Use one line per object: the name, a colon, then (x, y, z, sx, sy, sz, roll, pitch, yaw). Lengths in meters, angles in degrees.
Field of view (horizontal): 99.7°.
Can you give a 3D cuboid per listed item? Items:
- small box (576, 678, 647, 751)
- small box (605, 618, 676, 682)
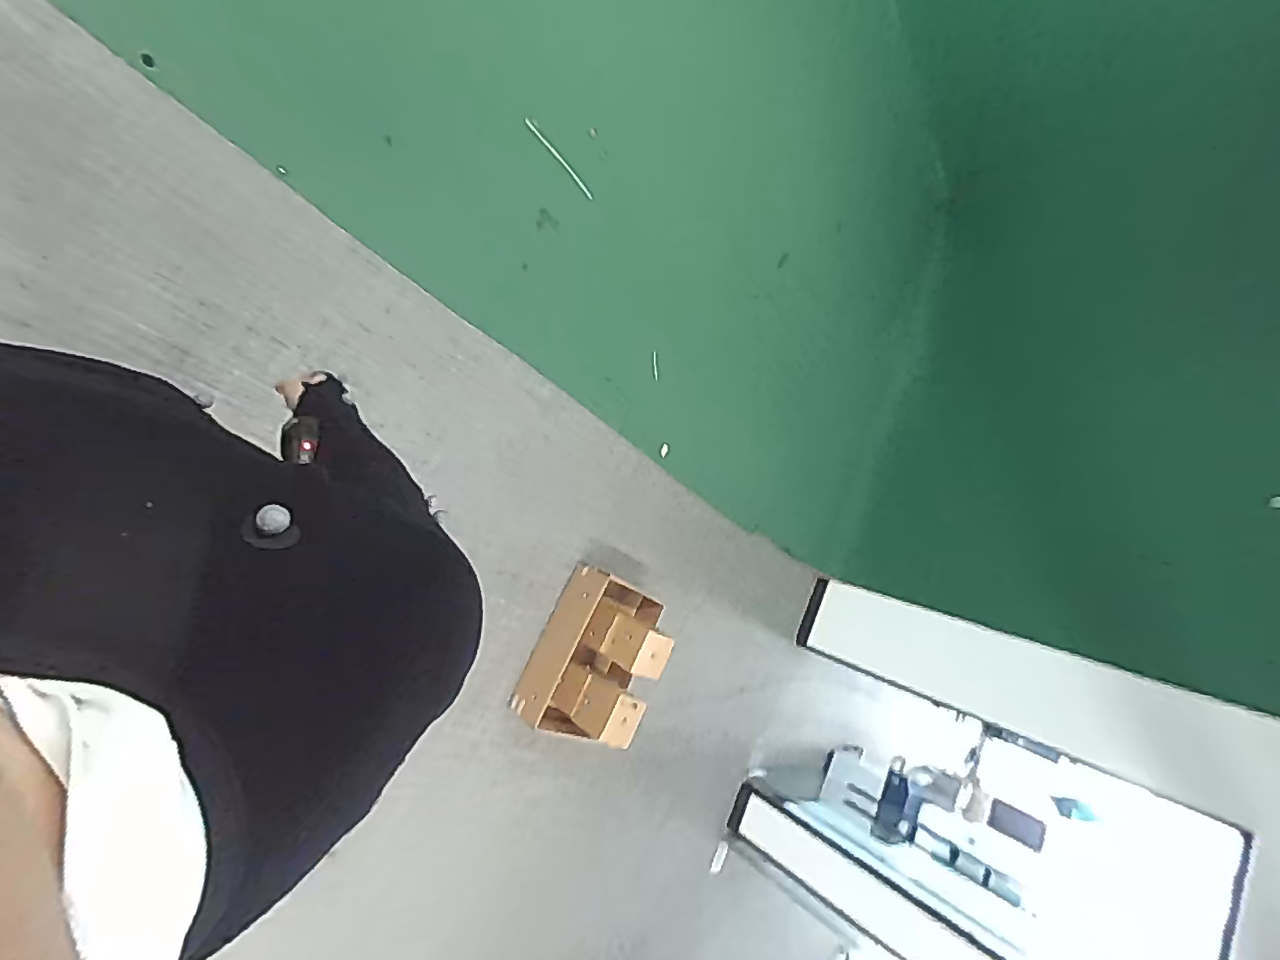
small box: (-0.112, 0.865, 1.996, 0.168, 0.176, 0.179, 40, 72, -41)
small box: (-0.002, 0.641, 2.056, 0.179, 0.176, 0.168, 33, 78, -43)
